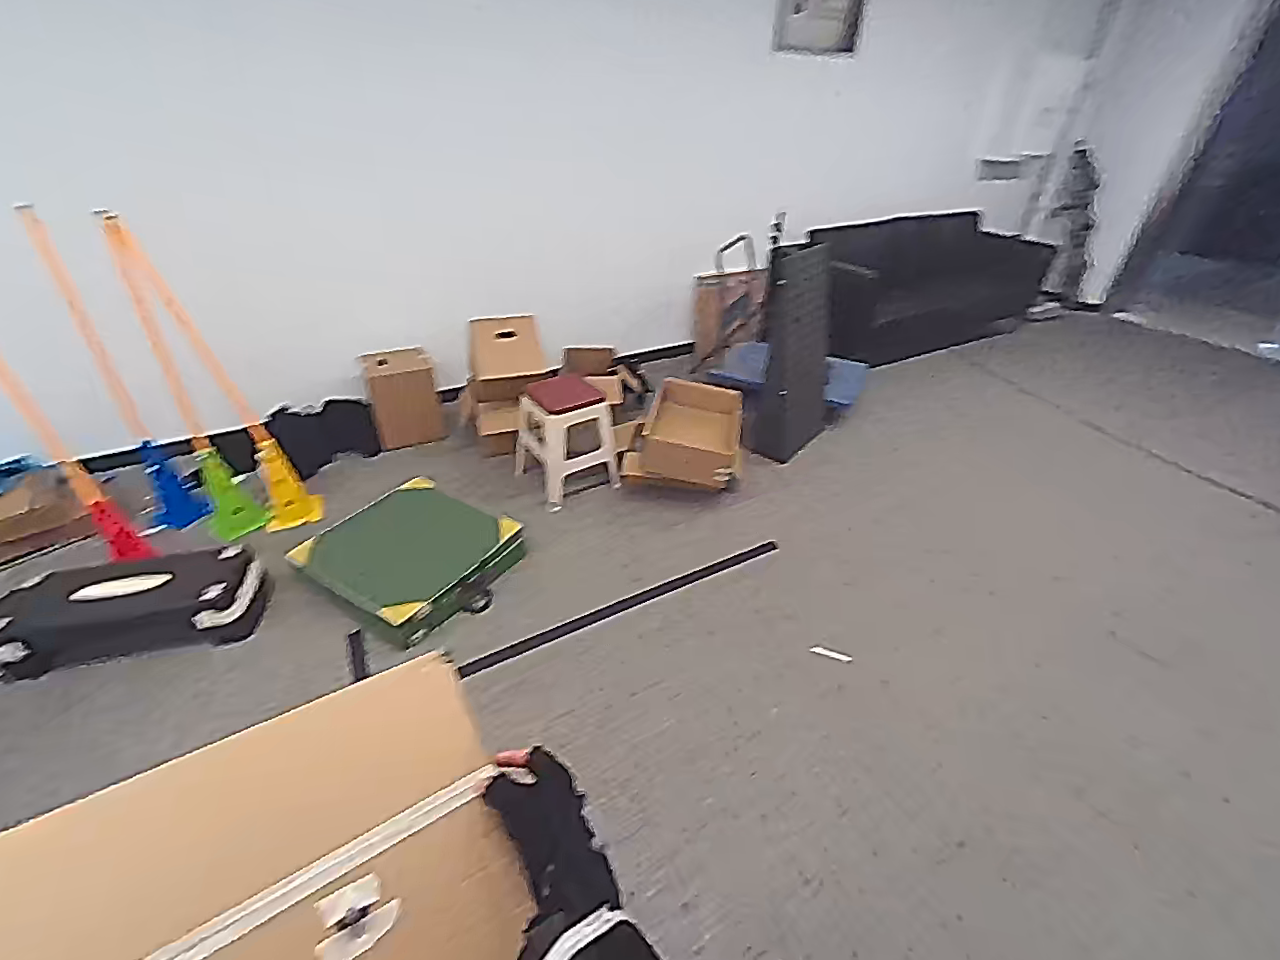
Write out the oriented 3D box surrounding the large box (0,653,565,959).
[{"bbox_3d":[-0.330,0.458,0.539,0.408,0.320,0.320,-18,50,-31],"label":"large box"}]
